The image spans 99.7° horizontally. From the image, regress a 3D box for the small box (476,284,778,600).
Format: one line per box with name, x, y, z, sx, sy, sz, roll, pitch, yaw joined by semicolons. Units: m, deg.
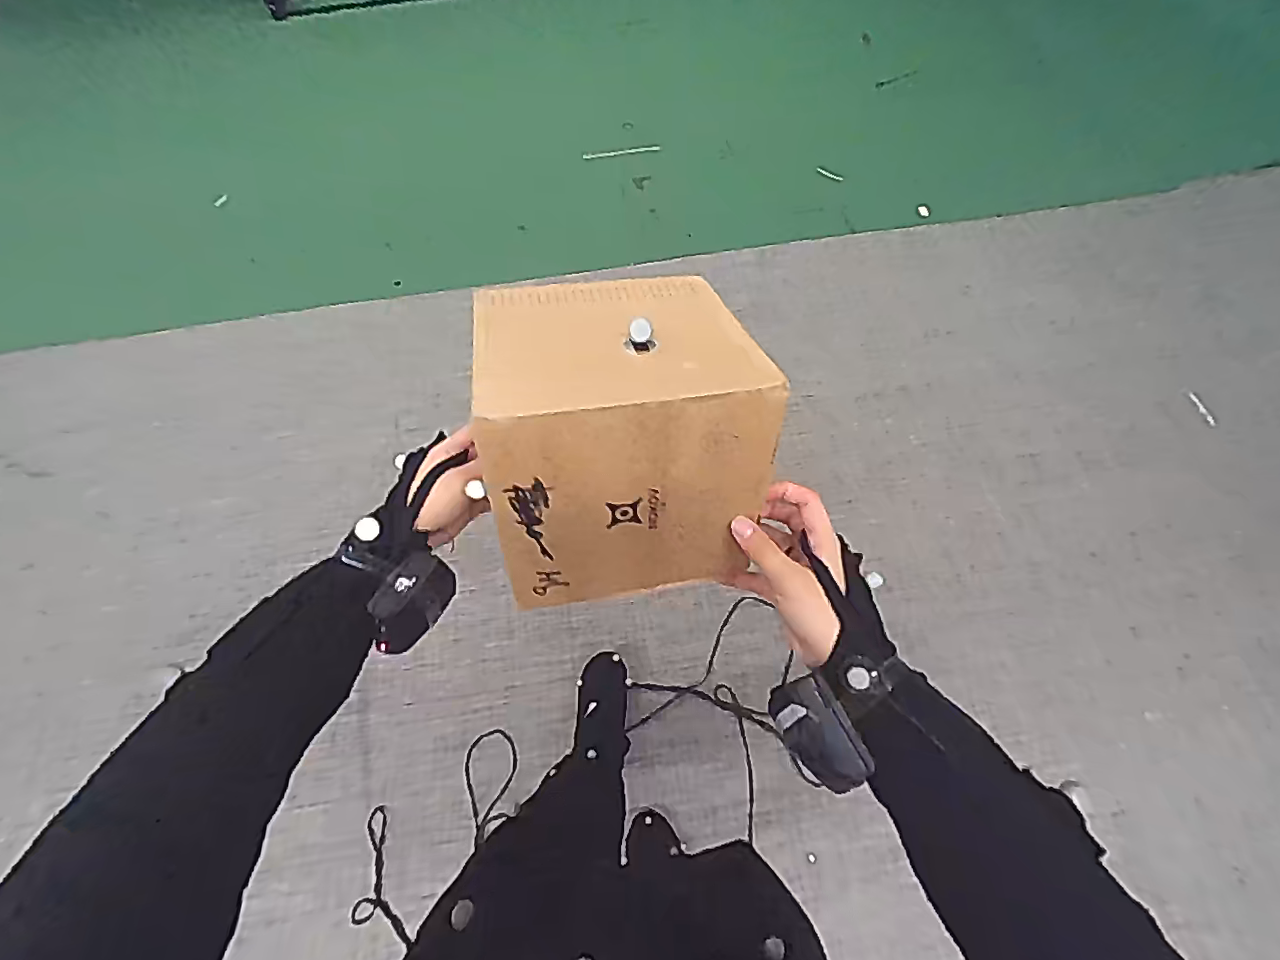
small box;-0.023;-0.037;0.411;0.179;0.168;0.176;-8;42;-10
